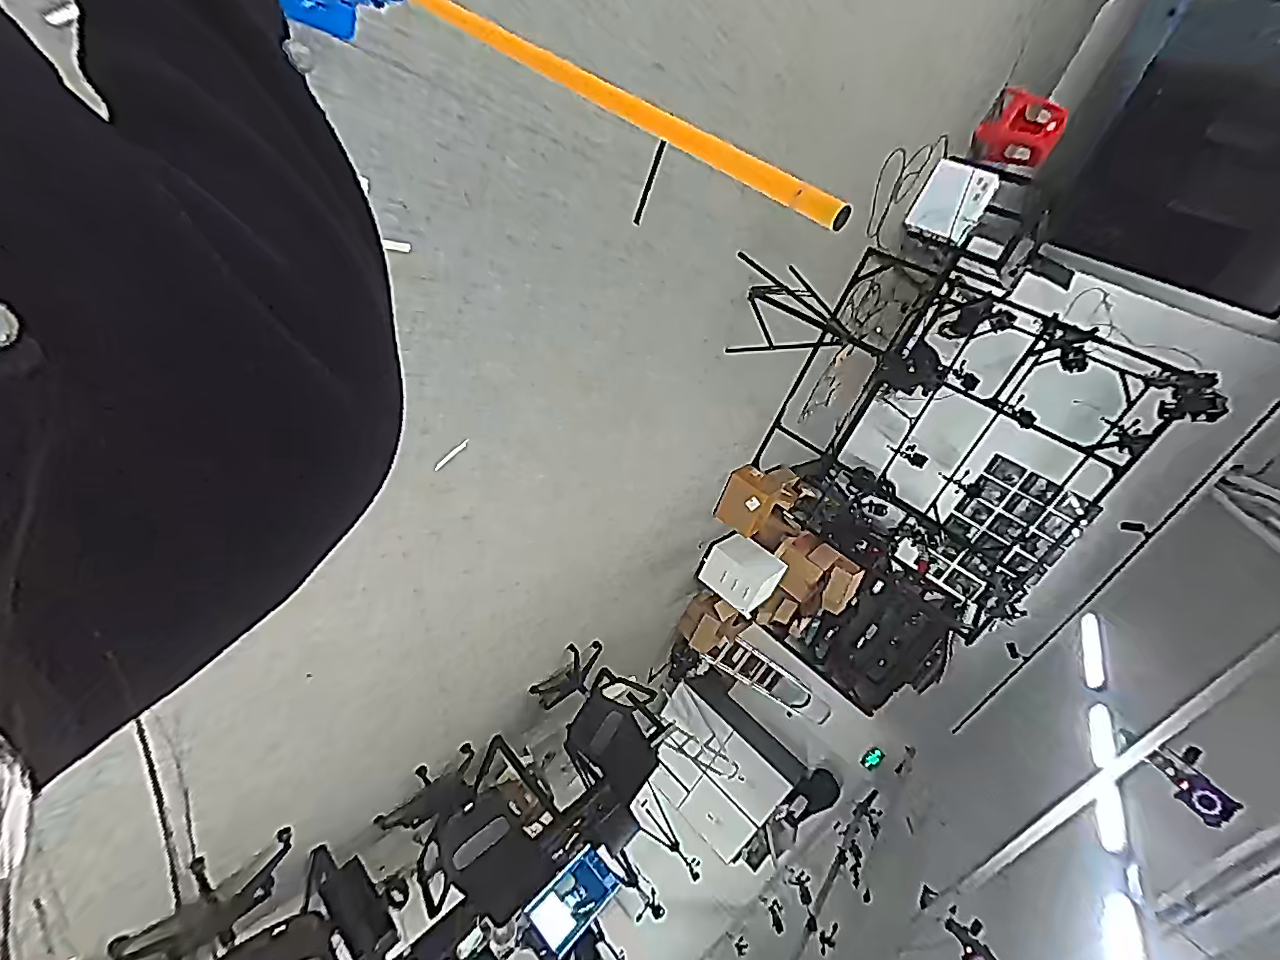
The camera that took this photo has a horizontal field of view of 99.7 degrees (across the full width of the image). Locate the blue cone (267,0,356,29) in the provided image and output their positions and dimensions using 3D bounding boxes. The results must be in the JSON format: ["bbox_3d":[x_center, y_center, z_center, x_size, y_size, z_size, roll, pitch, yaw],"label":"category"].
[{"bbox_3d":[-0.505,-0.889,0.932,0.193,0.380,0.192,-18,137,-49],"label":"blue cone"}]
